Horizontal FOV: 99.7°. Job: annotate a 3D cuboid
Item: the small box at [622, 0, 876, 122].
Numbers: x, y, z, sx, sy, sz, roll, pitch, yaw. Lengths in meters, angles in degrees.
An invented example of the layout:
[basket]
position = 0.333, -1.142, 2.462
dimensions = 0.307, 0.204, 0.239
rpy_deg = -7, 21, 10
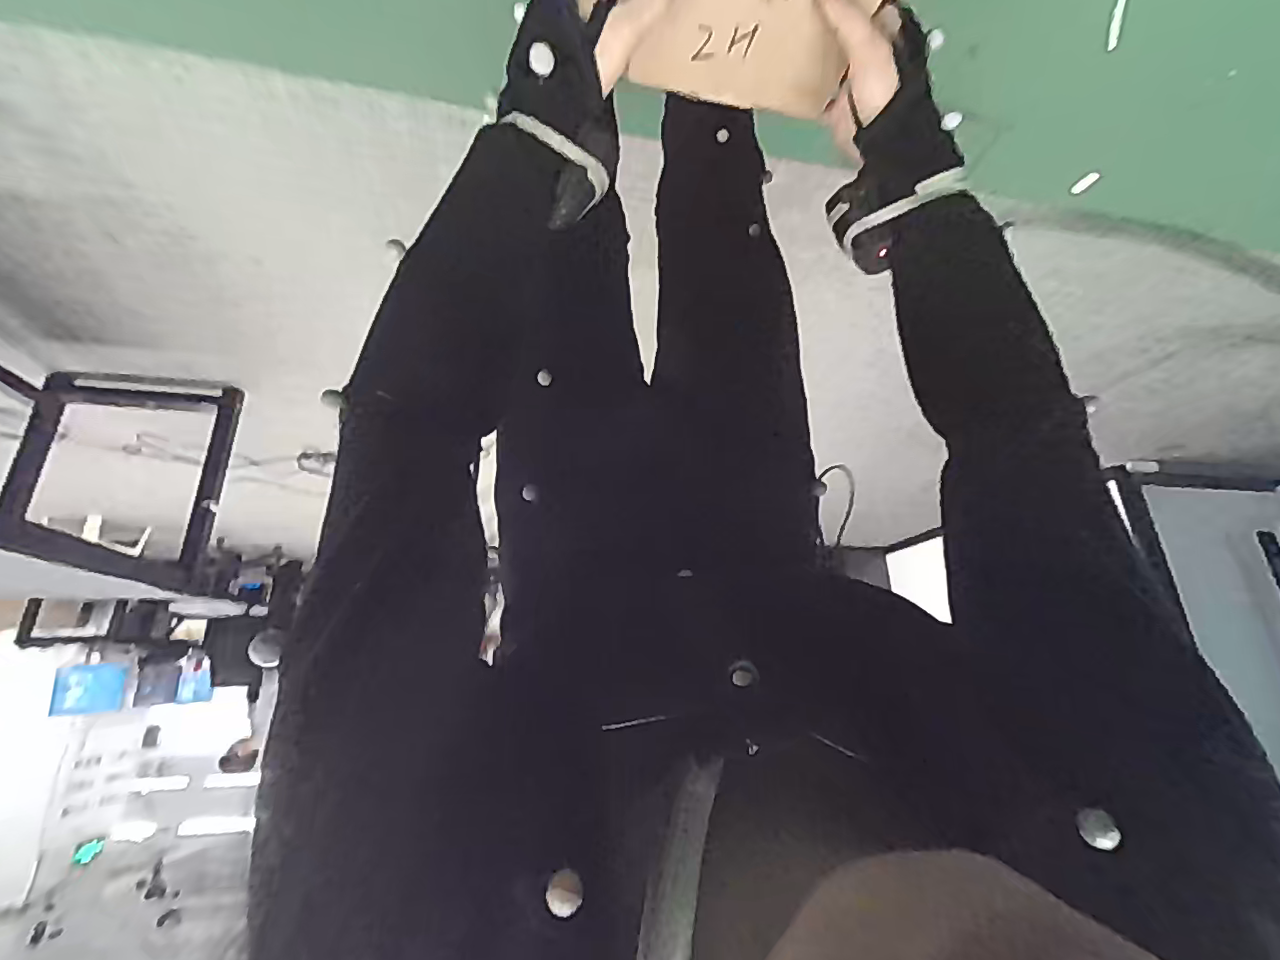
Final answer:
[small box]
position = 0.080, -0.411, 0.391
dimensions = 0.168, 0.176, 0.179
rpy_deg = 2, 156, -14
